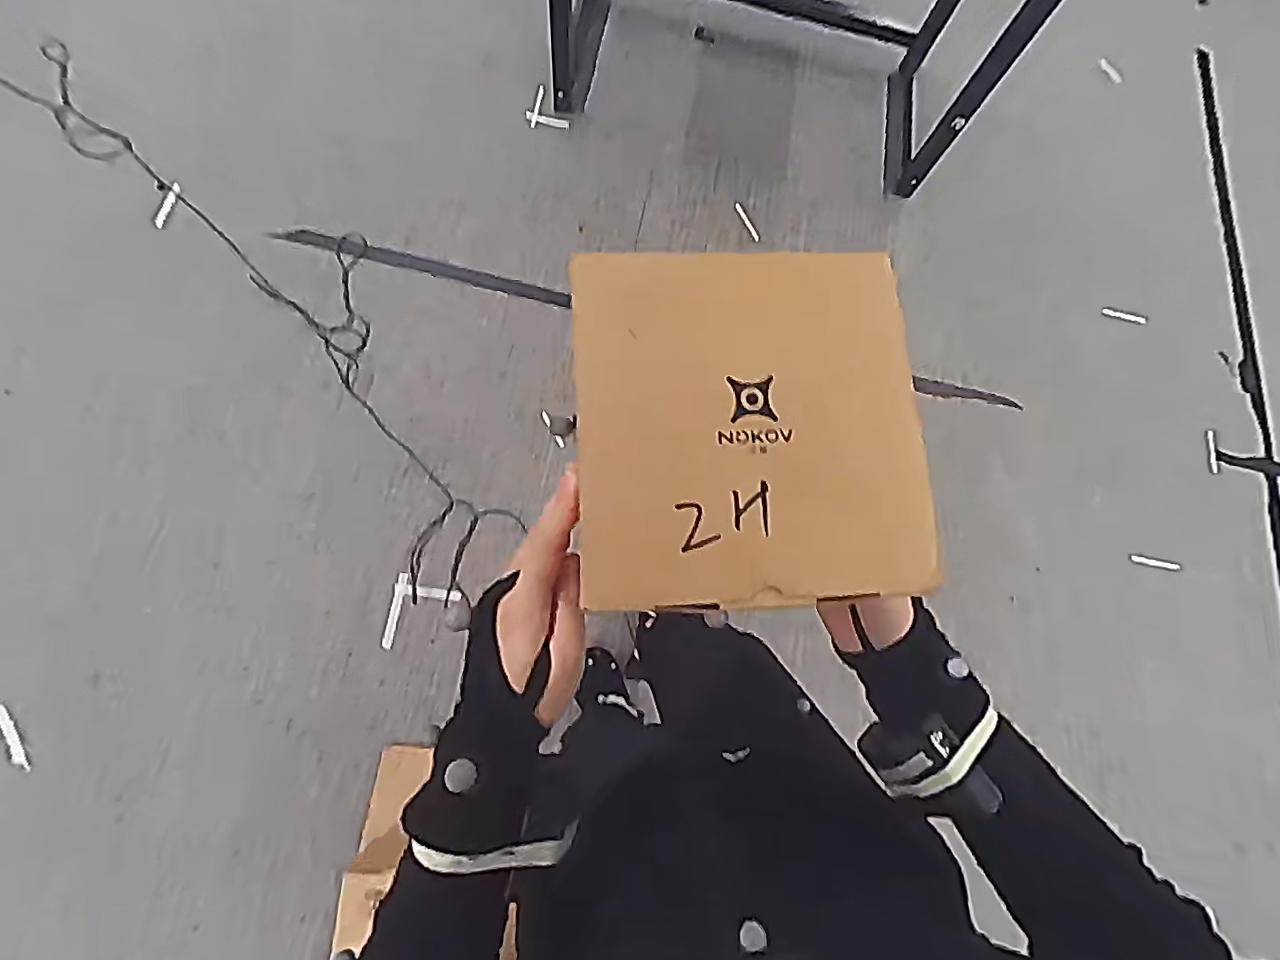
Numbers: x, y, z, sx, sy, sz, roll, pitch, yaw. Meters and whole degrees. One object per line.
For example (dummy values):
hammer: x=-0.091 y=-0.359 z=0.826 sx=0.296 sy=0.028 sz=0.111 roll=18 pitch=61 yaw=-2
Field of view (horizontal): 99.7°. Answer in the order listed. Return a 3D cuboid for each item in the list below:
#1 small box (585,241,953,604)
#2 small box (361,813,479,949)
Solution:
small box: x=0.050 y=-0.017 z=0.331 sx=0.168 sy=0.176 sz=0.179 roll=-2 pitch=78 yaw=-5
small box: x=-0.424 y=0.784 z=1.074 sx=0.168 sy=0.176 sz=0.179 roll=5 pitch=75 yaw=-5
